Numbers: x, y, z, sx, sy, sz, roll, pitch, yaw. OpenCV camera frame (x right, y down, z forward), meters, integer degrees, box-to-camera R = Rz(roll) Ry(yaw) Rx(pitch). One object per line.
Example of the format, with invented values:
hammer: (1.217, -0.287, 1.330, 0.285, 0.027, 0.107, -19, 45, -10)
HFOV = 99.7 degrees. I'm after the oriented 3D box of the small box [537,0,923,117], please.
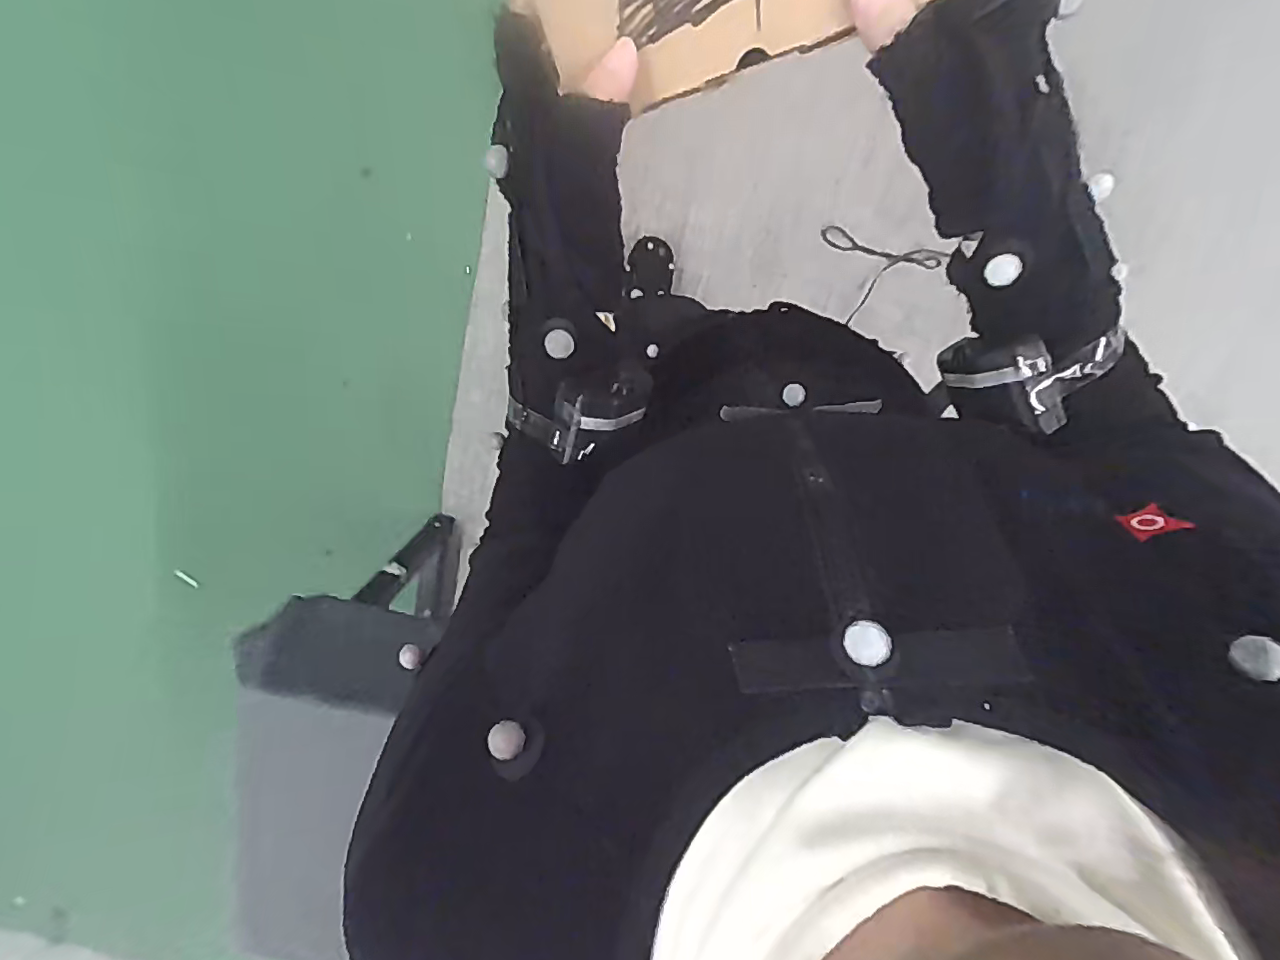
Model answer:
small box: (0.025, -0.303, 0.241, 0.168, 0.176, 0.179, -12, 133, 12)
